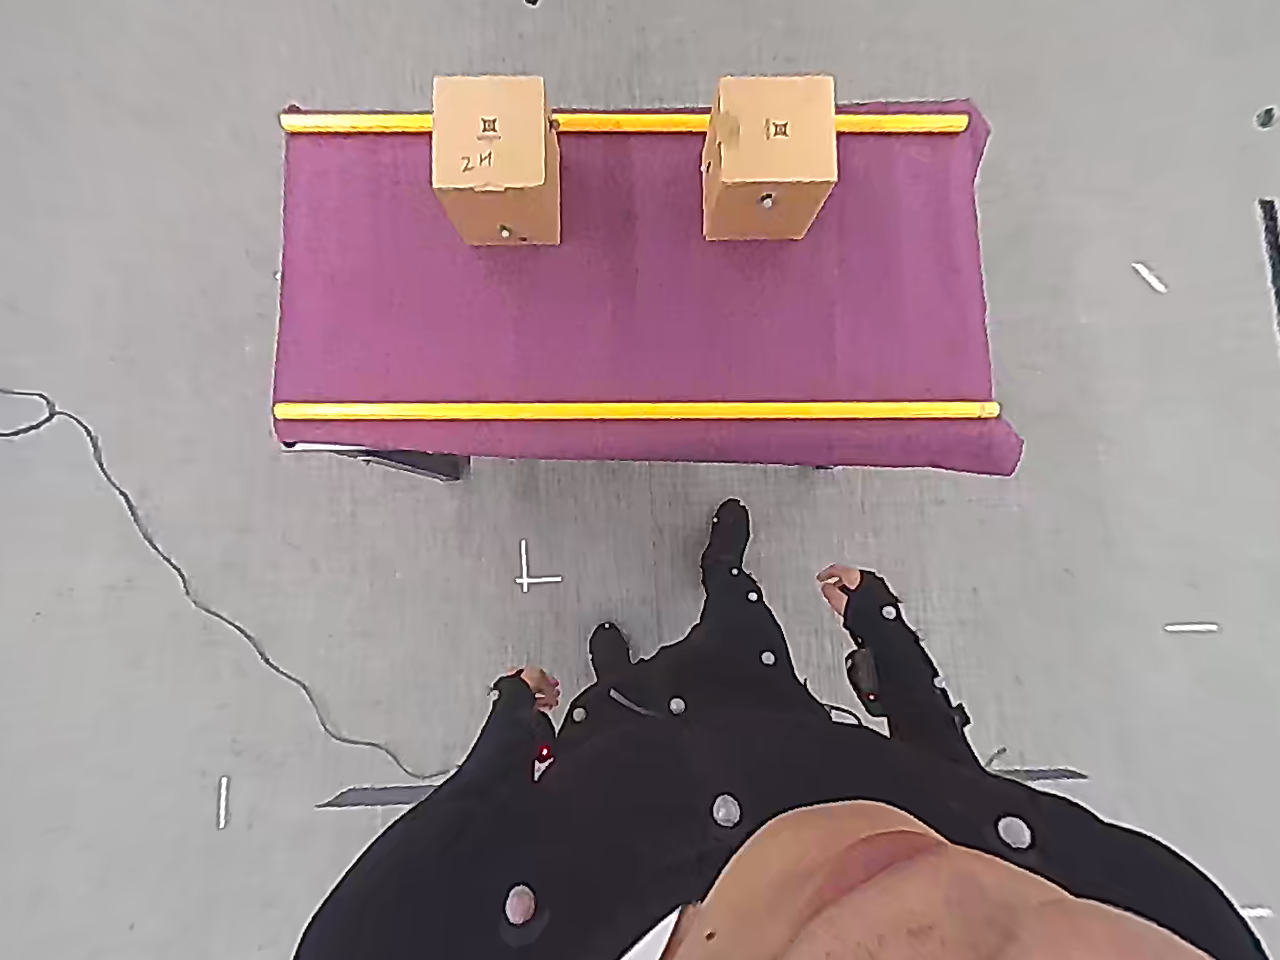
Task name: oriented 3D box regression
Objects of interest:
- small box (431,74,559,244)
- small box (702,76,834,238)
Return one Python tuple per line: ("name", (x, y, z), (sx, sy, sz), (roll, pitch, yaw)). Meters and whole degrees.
("small box", (-0.224, -0.507, 0.873), (0.168, 0.176, 0.179), (-1, 86, -1))
("small box", (0.199, -0.514, 0.881), (0.179, 0.176, 0.168), (-1, 86, 0))
